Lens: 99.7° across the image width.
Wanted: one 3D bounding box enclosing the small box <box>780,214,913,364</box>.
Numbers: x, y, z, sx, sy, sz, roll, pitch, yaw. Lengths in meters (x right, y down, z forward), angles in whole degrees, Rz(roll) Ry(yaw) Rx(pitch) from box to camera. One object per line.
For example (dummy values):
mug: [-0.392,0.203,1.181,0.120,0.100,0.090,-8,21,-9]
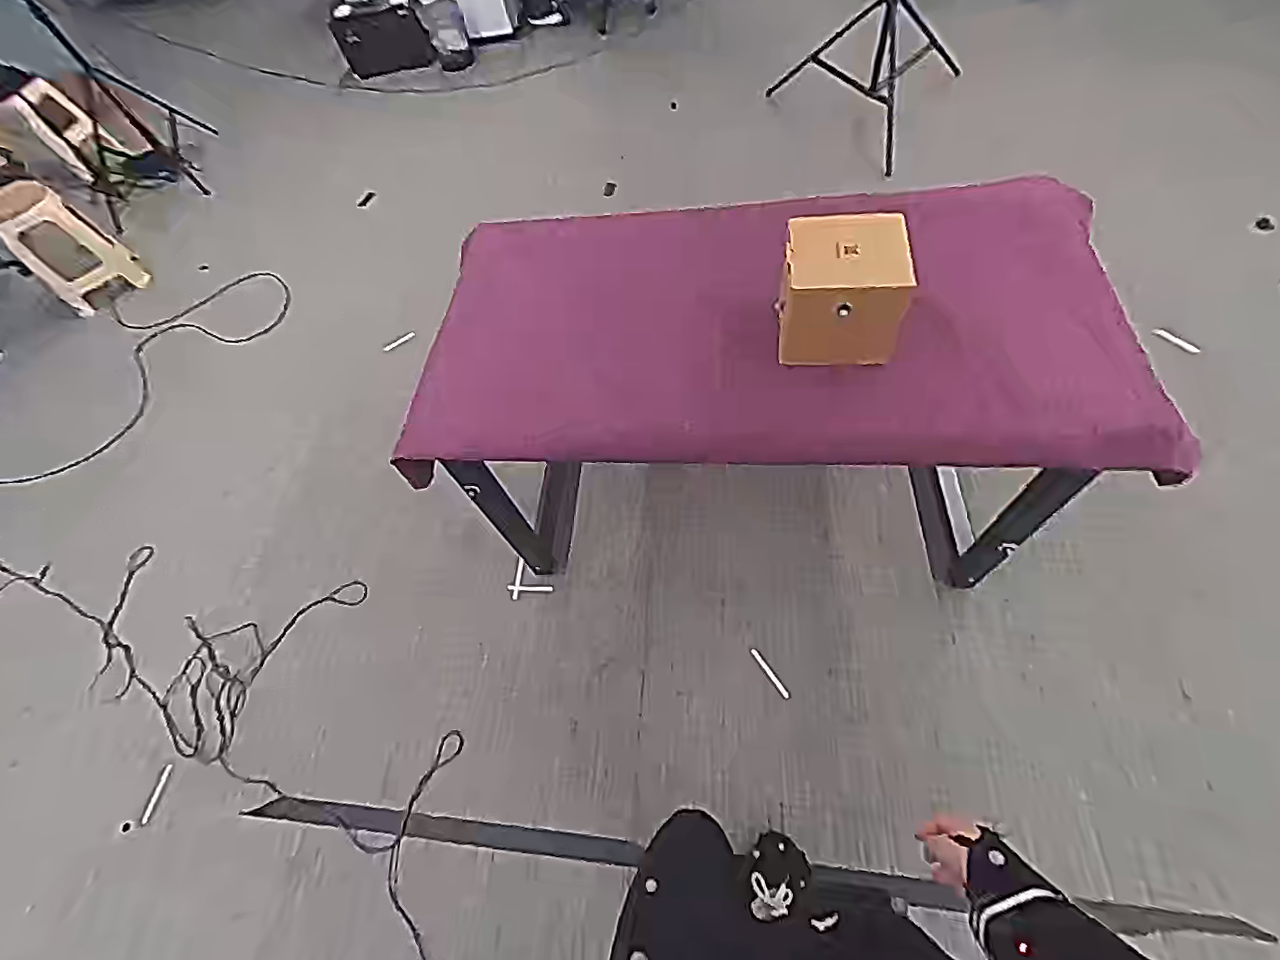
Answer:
small box: [0.323,-0.306,0.885,0.179,0.176,0.168,2,61,10]
